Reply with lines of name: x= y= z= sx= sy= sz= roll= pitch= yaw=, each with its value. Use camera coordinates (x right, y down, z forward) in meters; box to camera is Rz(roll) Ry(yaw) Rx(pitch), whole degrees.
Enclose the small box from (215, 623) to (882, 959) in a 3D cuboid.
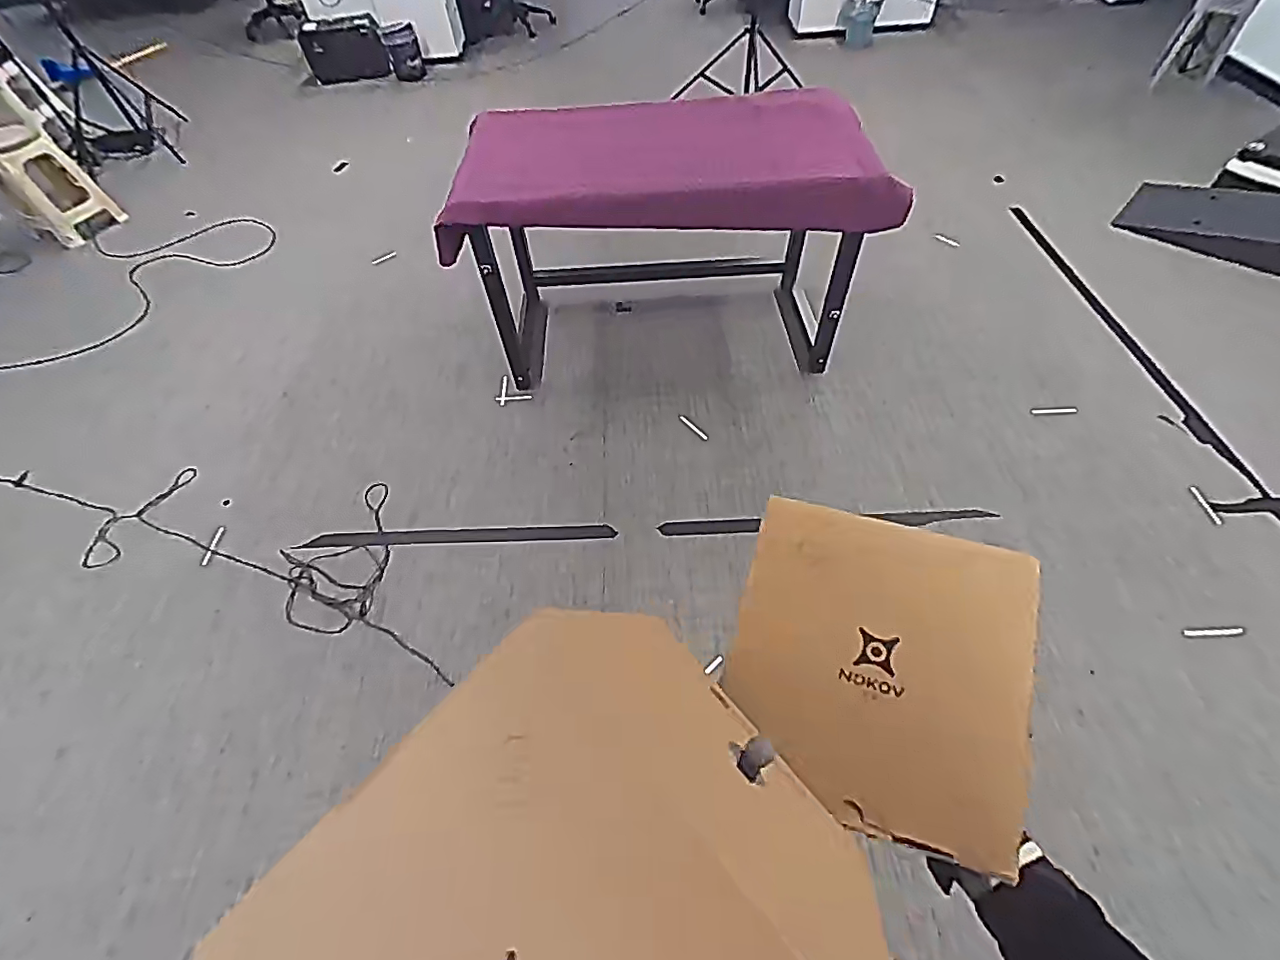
small box: x=-0.018 y=0.181 z=0.236 sx=0.179 sy=0.176 sz=0.168 roll=-45 pitch=67 yaw=2
